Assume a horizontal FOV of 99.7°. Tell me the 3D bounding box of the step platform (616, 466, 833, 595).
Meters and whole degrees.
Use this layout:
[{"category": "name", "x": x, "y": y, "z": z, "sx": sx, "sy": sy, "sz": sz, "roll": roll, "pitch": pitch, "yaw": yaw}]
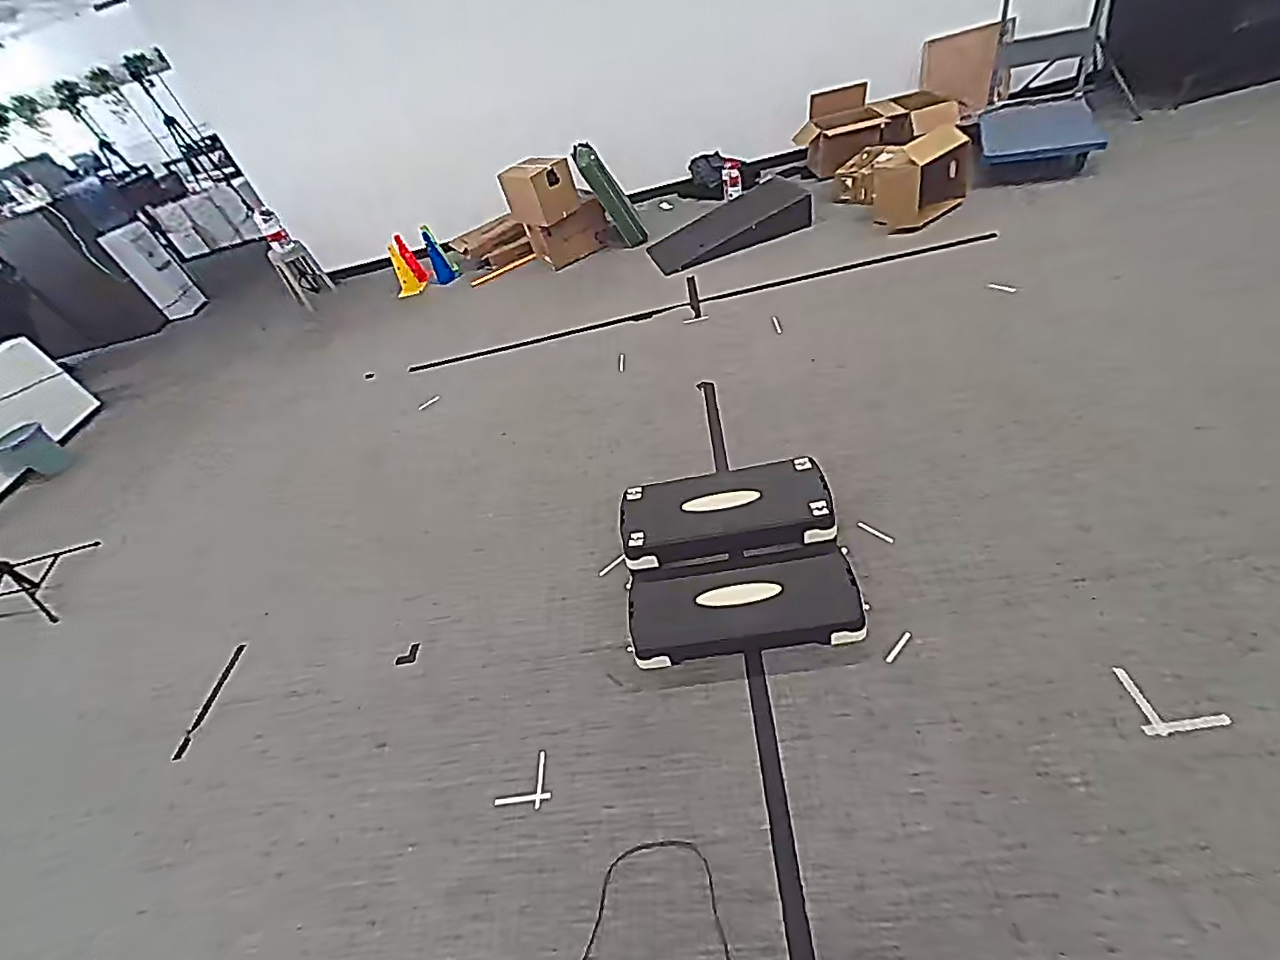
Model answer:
[{"category": "step platform", "x": 0.263, "y": 0.161, "z": 1.763, "sx": 0.684, "sy": 0.204, "sz": 0.286, "roll": -11, "pitch": 44, "yaw": 7}]
